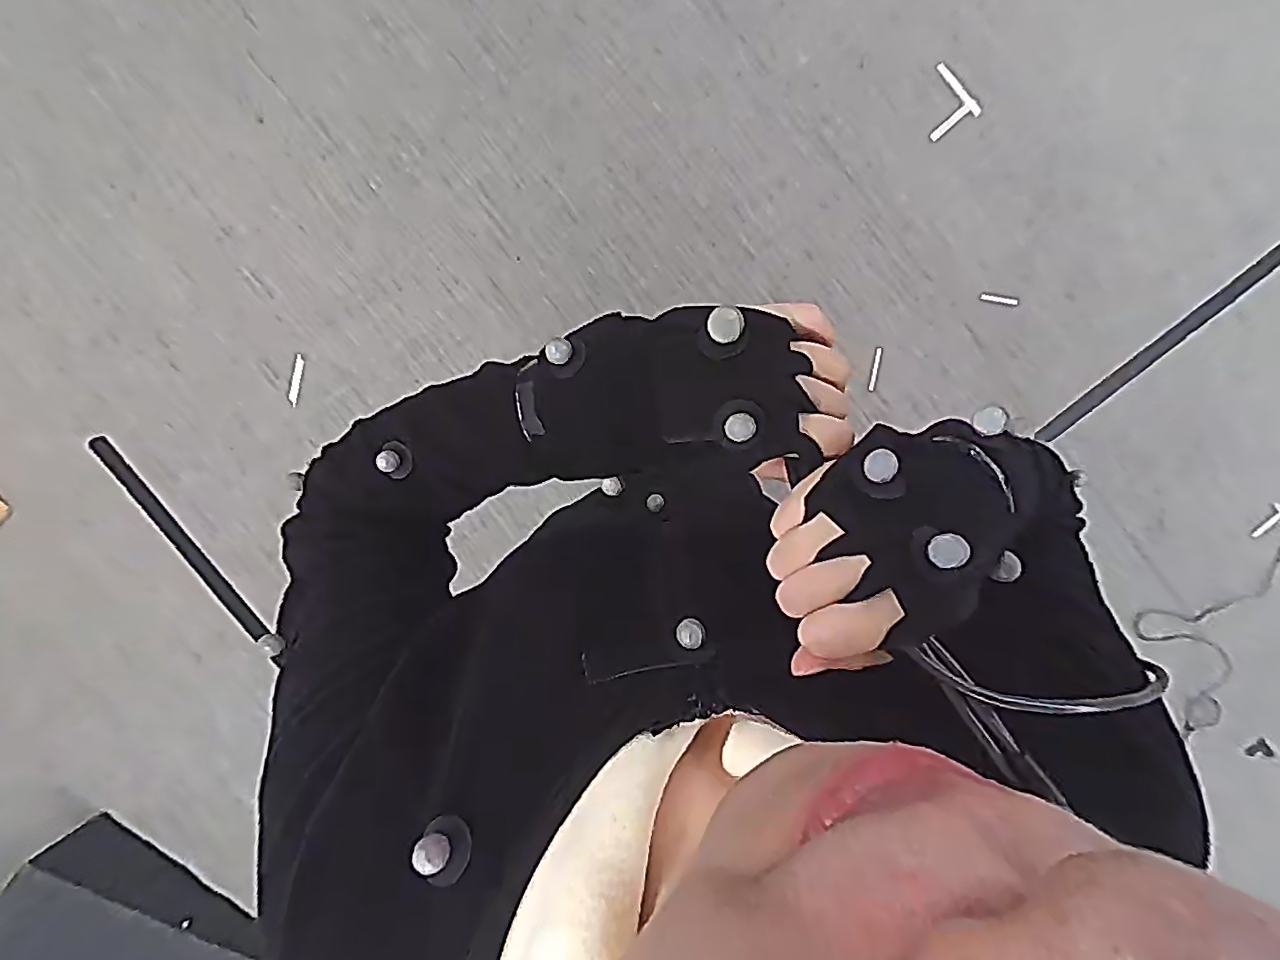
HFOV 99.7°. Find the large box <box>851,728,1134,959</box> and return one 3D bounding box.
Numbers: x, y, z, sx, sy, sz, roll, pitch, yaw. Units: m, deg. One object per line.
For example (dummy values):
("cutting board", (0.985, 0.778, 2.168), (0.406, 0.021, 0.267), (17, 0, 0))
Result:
("large box", (0.754, 0.862, 1.216), (0.320, 0.320, 0.408), (27, 92, -2))
